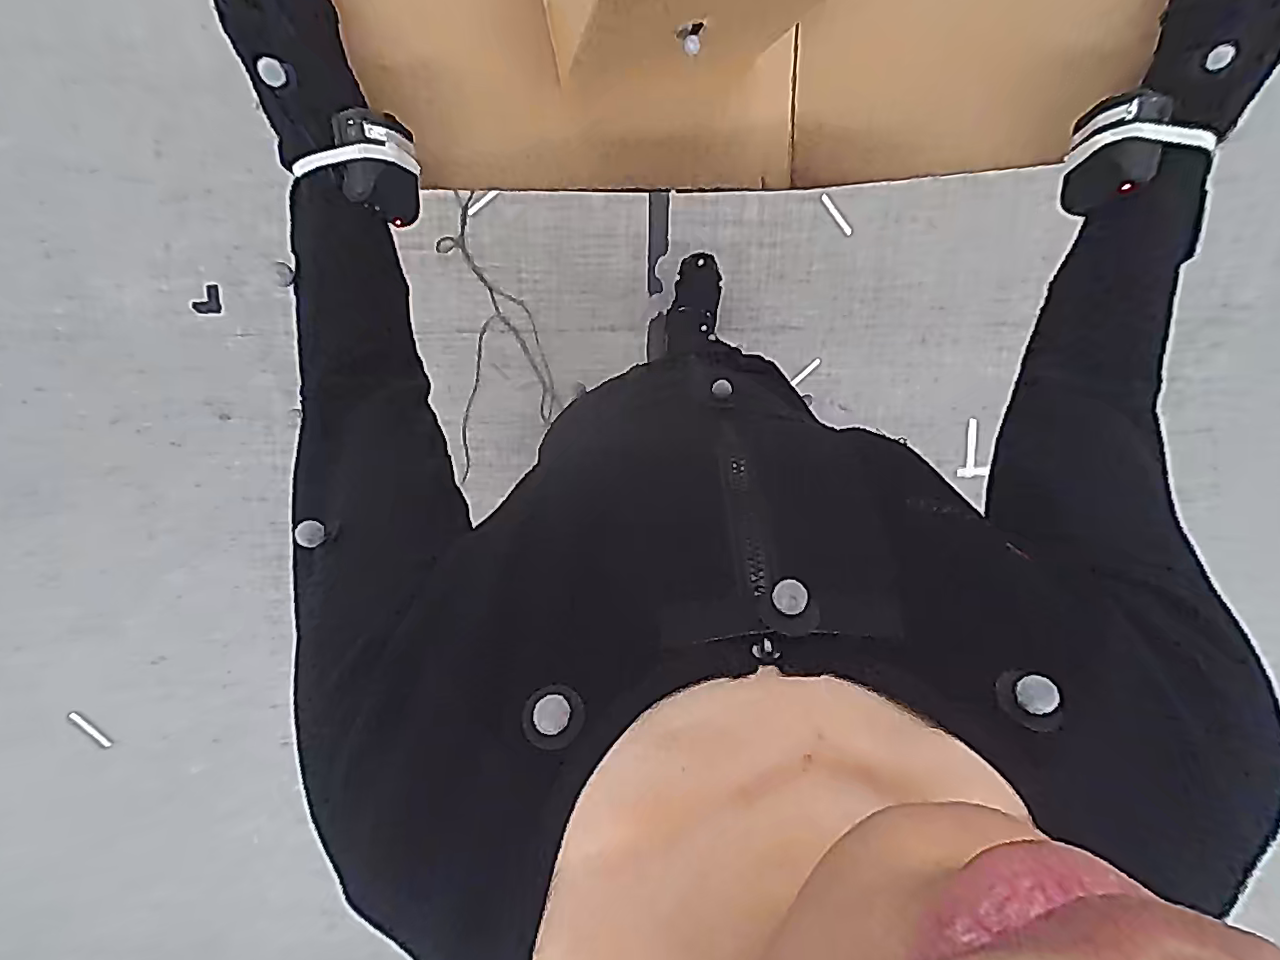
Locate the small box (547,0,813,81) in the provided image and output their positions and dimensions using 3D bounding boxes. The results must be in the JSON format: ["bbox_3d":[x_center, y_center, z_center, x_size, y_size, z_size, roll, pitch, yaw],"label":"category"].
[{"bbox_3d":[0.025,-0.400,0.362,0.179,0.176,0.168,-16,112,-9],"label":"small box"}]
